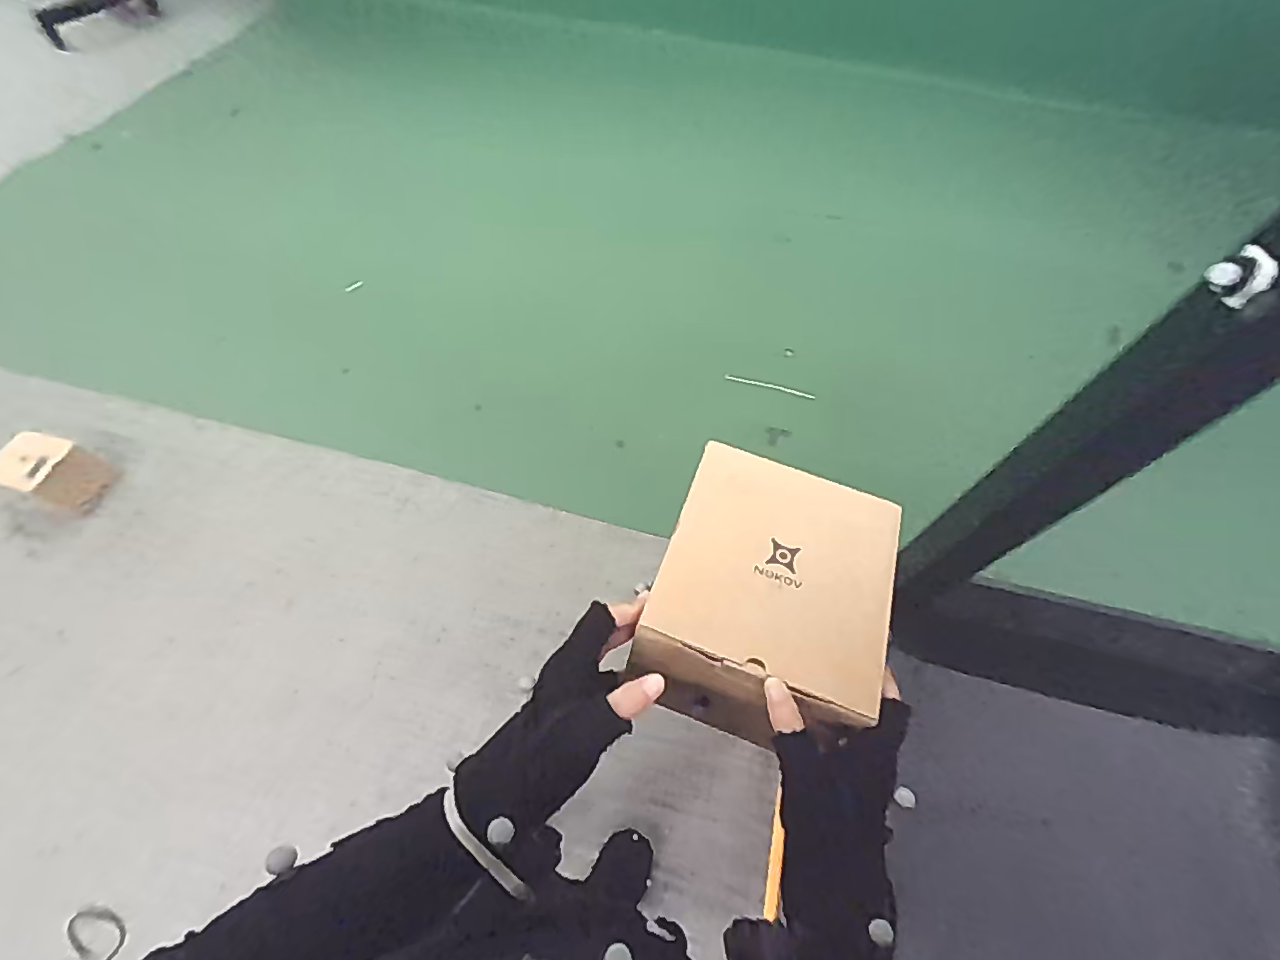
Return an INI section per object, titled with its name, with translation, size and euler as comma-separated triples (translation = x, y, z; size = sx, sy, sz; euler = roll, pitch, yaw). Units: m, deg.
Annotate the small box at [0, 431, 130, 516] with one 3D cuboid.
[small box]
translation = -1.651, -0.013, 1.556
size = 0.179, 0.176, 0.168
euler = 13, 60, 6
